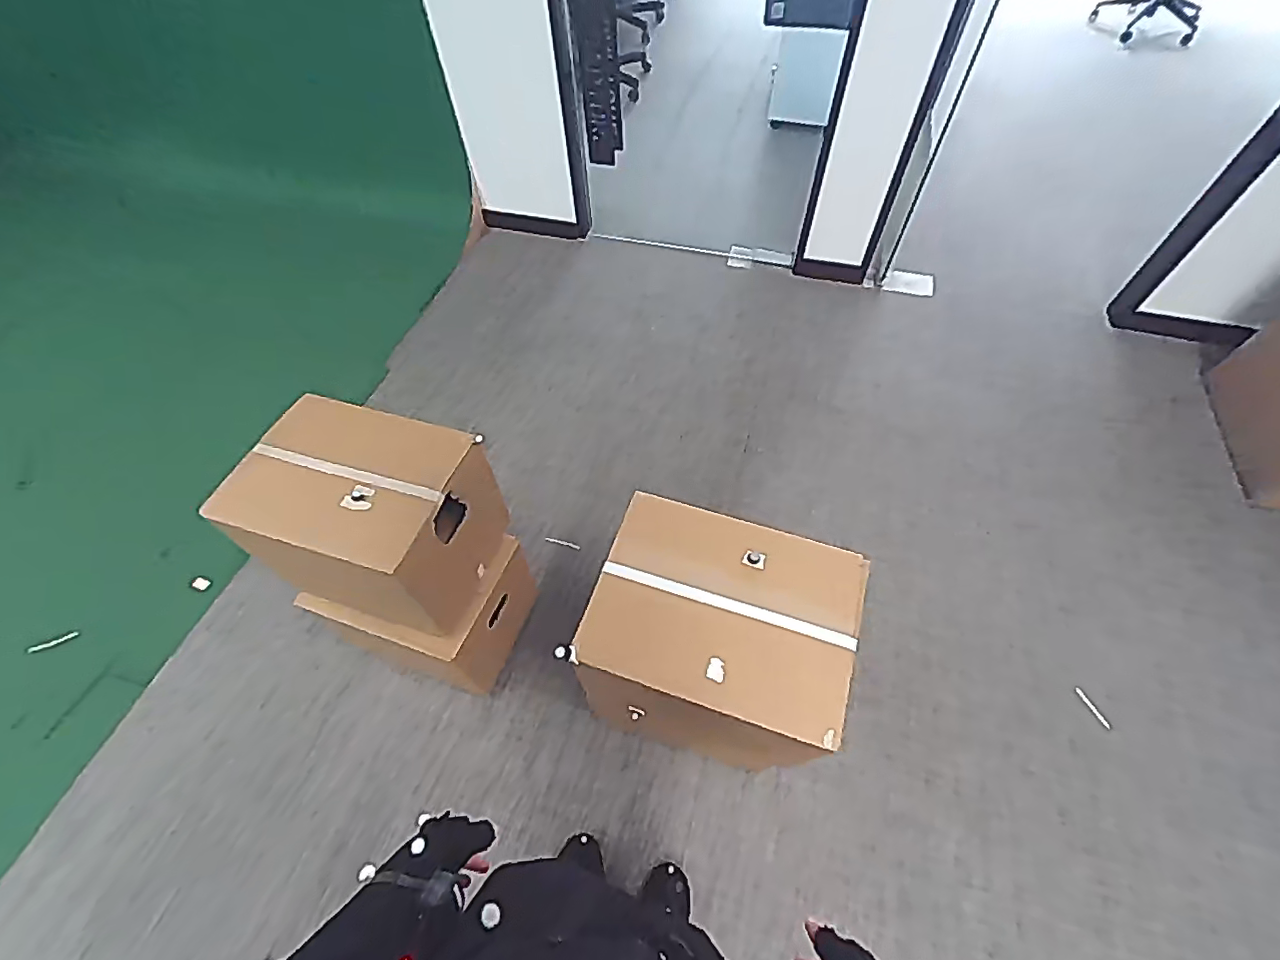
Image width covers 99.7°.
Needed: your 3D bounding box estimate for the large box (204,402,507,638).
[{"bbox_3d":[-0.547,0.085,1.132,0.408,0.320,0.320,15,55,10],"label":"large box"}]
